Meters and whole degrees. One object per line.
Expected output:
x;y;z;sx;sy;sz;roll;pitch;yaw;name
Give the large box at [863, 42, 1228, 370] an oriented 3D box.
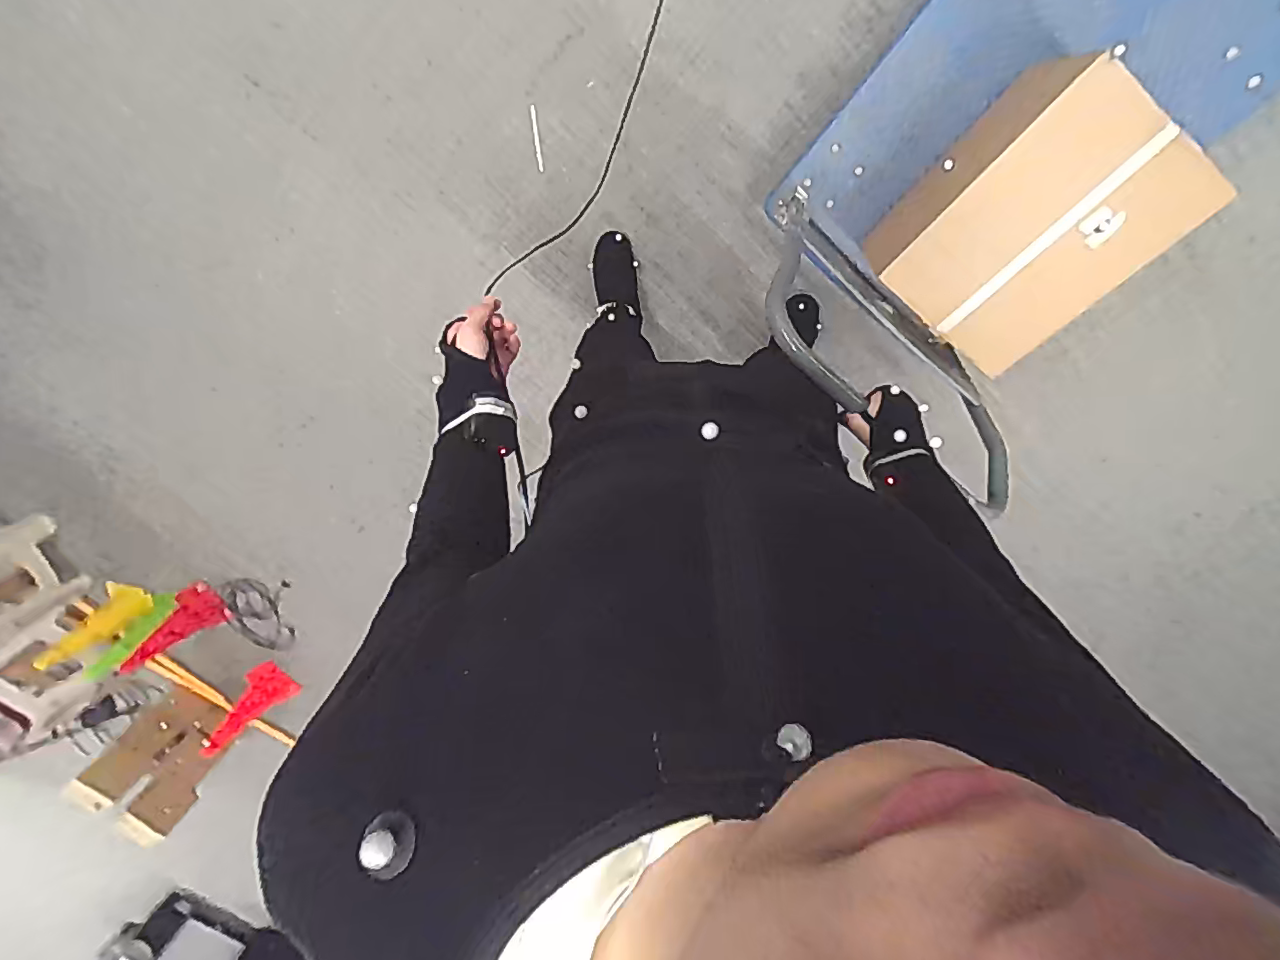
0.697;-0.495;1.023;0.320;0.320;0.408;36;125;-11;large box
